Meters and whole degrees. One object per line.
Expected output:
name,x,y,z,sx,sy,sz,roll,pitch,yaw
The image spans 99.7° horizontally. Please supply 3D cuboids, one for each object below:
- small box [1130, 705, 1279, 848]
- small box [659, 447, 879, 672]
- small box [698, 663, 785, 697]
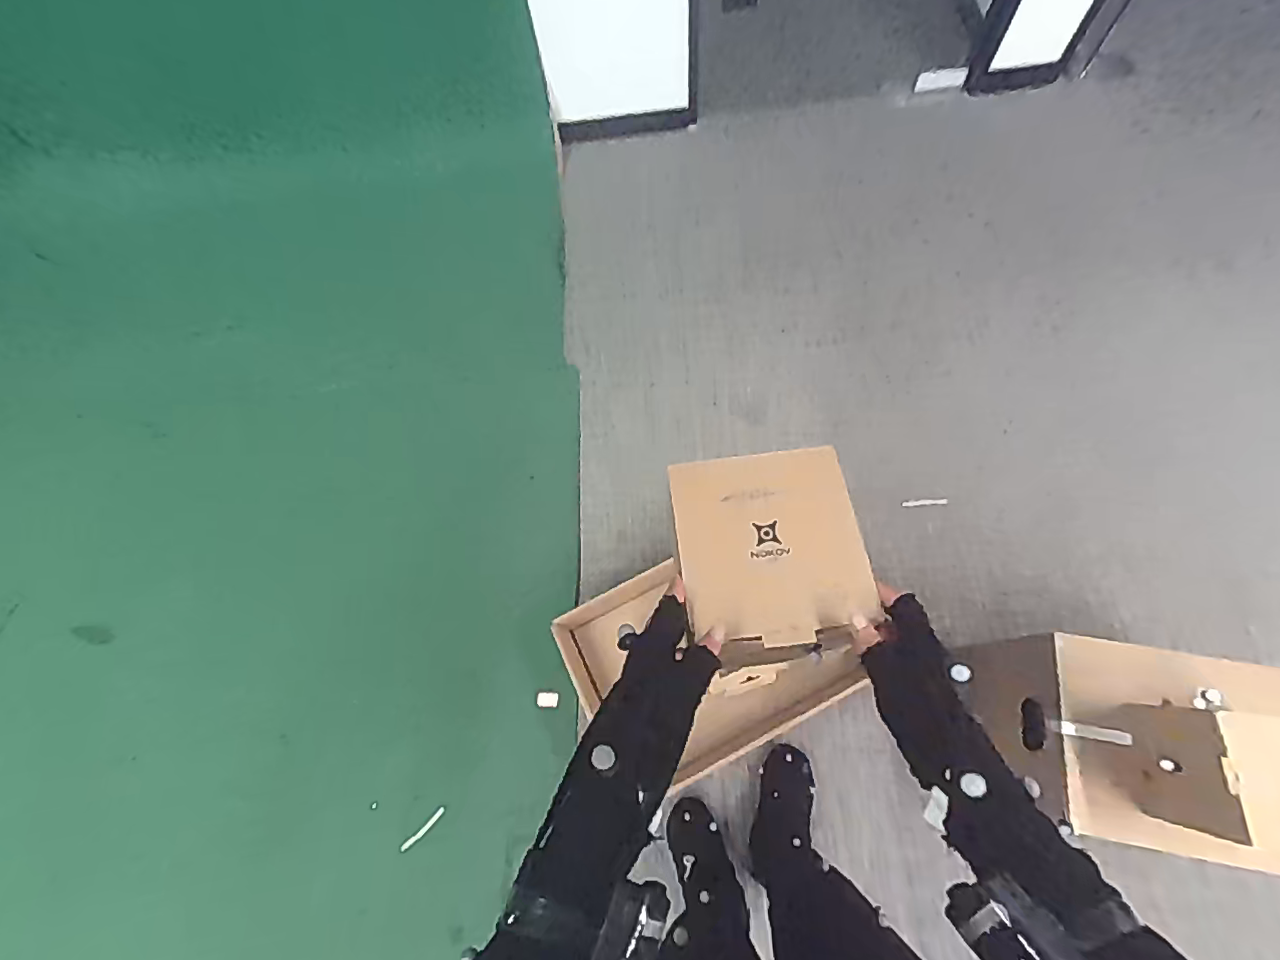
small box,0.867,0.424,0.786,0.179,0.176,0.168,2,70,7
small box,0.114,0.091,0.551,0.168,0.176,0.179,-8,61,0
small box,0.193,0.350,1.158,0.168,0.176,0.179,-19,67,-2
